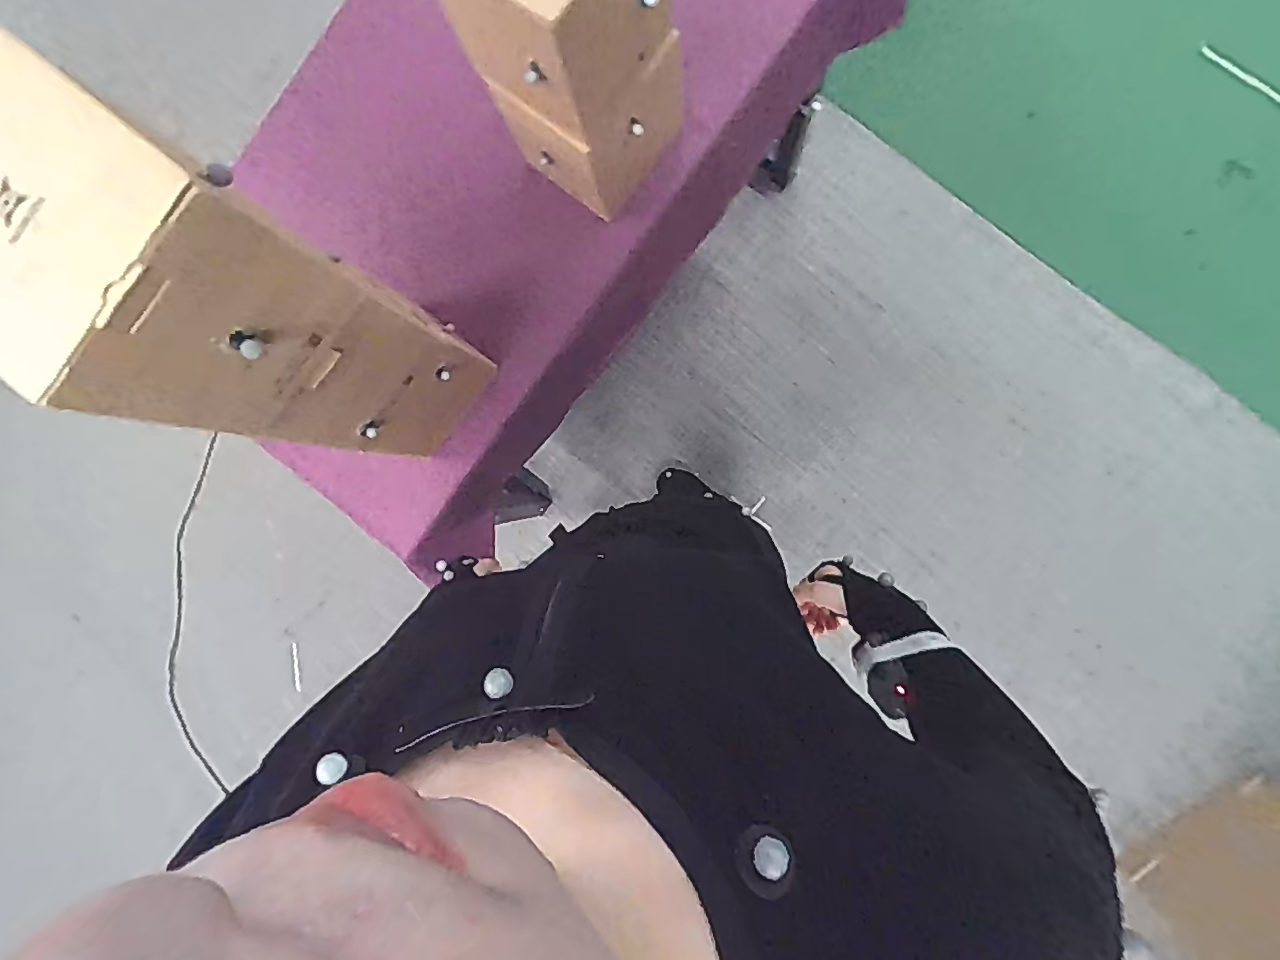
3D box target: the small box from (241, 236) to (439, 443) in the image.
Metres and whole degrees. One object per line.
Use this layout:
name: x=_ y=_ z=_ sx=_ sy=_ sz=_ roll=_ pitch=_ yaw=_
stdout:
small box: x=-0.352 y=-0.152 z=0.572 sx=0.179 sy=0.176 sz=0.168 roll=37 pitch=92 yaw=7

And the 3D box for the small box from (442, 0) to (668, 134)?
small box: x=-0.085 y=-0.500 z=0.548 sx=0.179 sy=0.176 sz=0.168 roll=37 pitch=92 yaw=6

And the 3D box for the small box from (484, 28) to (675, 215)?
small box: x=-0.064 y=-0.493 z=0.710 sx=0.168 sy=0.176 sz=0.179 roll=39 pitch=93 yaw=4

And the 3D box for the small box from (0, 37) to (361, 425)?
small box: x=-0.359 y=-0.156 z=0.407 sx=0.179 sy=0.176 sz=0.168 roll=38 pitch=92 yaw=5

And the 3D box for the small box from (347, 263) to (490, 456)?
small box: x=-0.335 y=-0.147 z=0.735 sx=0.168 sy=0.176 sz=0.179 roll=37 pitch=92 yaw=5
